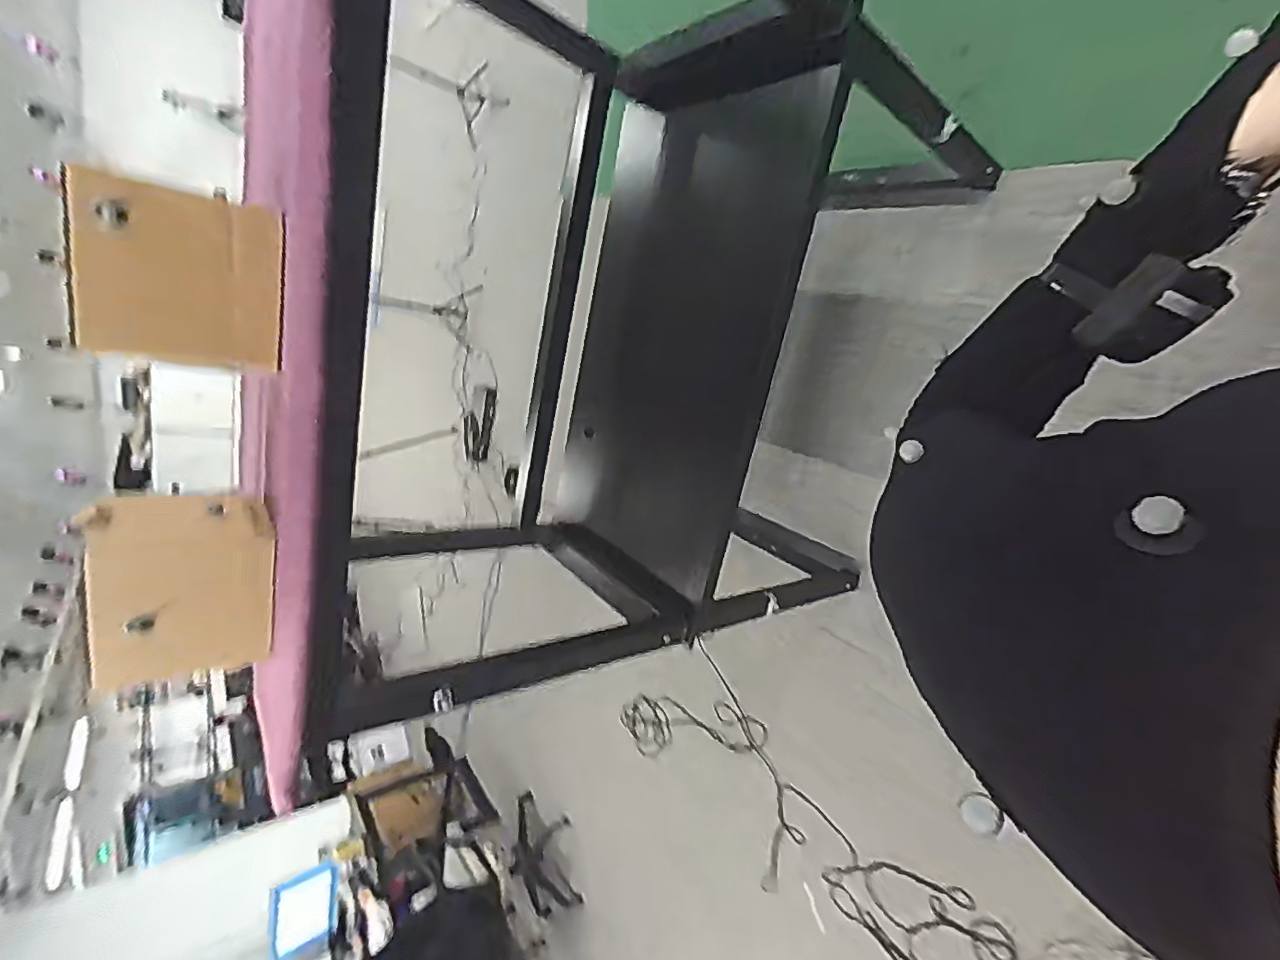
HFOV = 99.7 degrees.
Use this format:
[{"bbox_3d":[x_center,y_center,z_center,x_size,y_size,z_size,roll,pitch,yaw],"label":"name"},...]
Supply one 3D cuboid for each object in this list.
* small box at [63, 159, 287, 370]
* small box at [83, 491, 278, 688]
[{"bbox_3d":[-0.501,-0.227,0.604,0.168,0.176,0.179,29,112,48],"label":"small box"},{"bbox_3d":[-0.565,0.122,0.680,0.168,0.176,0.179,27,110,45],"label":"small box"}]
